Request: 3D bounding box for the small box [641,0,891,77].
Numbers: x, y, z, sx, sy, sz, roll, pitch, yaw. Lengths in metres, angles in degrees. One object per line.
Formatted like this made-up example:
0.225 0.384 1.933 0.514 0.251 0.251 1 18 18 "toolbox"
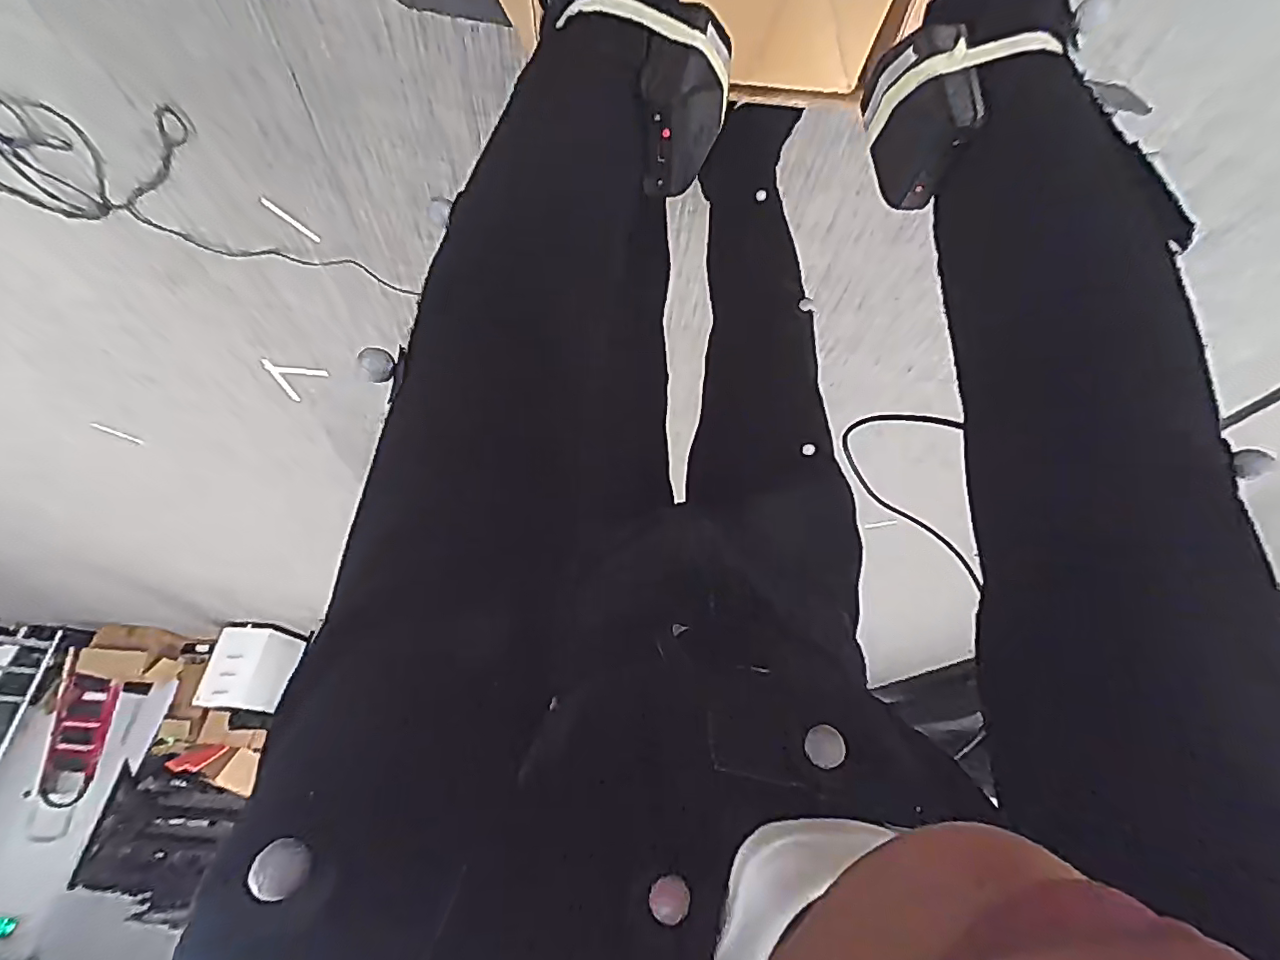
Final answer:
0.090 -0.400 0.350 0.168 0.176 0.179 5 169 1 "small box"
